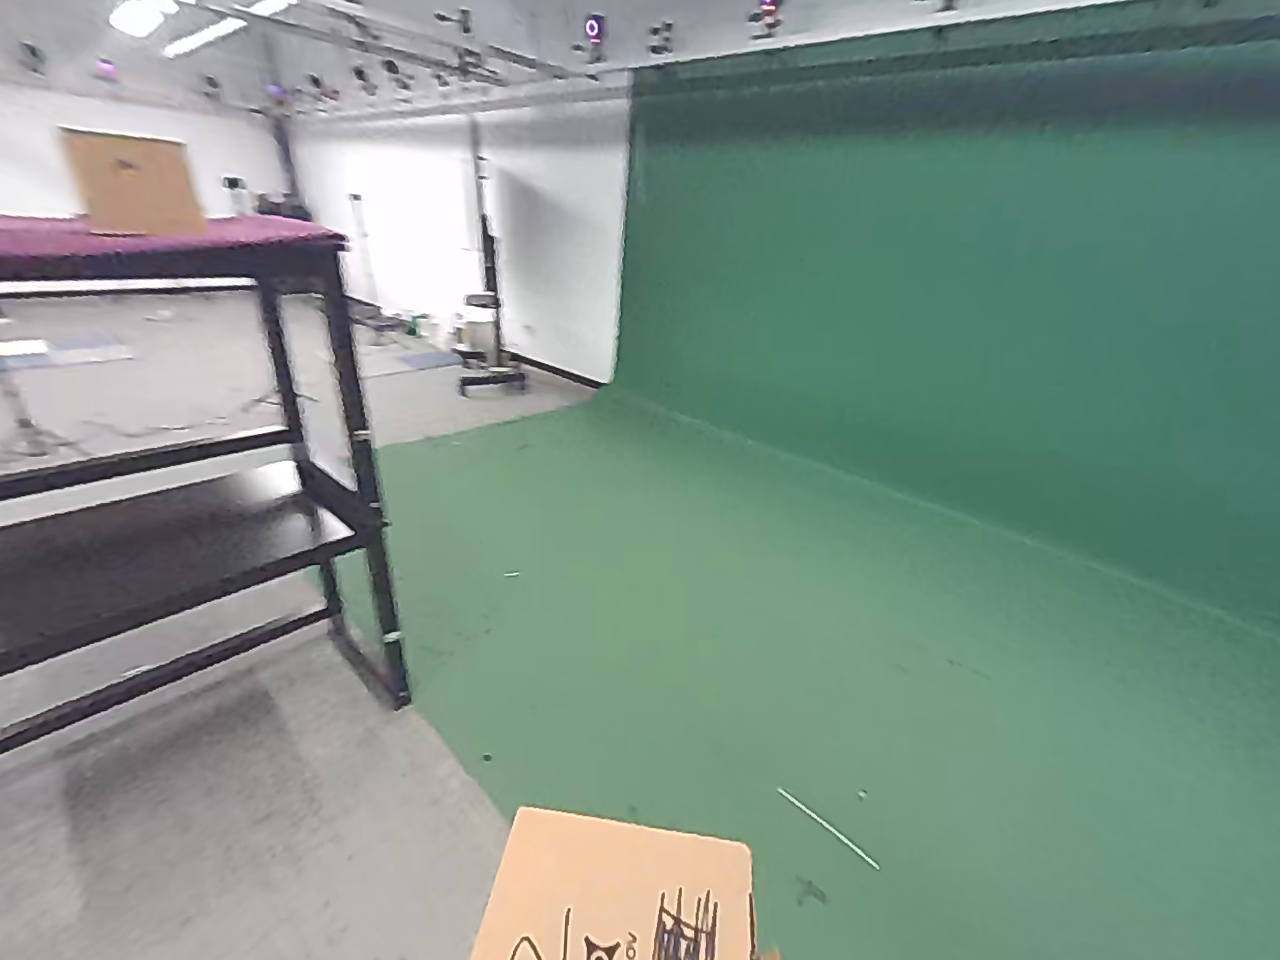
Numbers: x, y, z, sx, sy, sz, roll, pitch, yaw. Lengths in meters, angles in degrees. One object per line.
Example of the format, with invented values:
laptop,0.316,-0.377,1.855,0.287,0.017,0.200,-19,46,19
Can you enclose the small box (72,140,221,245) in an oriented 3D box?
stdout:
small box,-0.982,-0.564,1.081,0.168,0.176,0.179,23,31,39
